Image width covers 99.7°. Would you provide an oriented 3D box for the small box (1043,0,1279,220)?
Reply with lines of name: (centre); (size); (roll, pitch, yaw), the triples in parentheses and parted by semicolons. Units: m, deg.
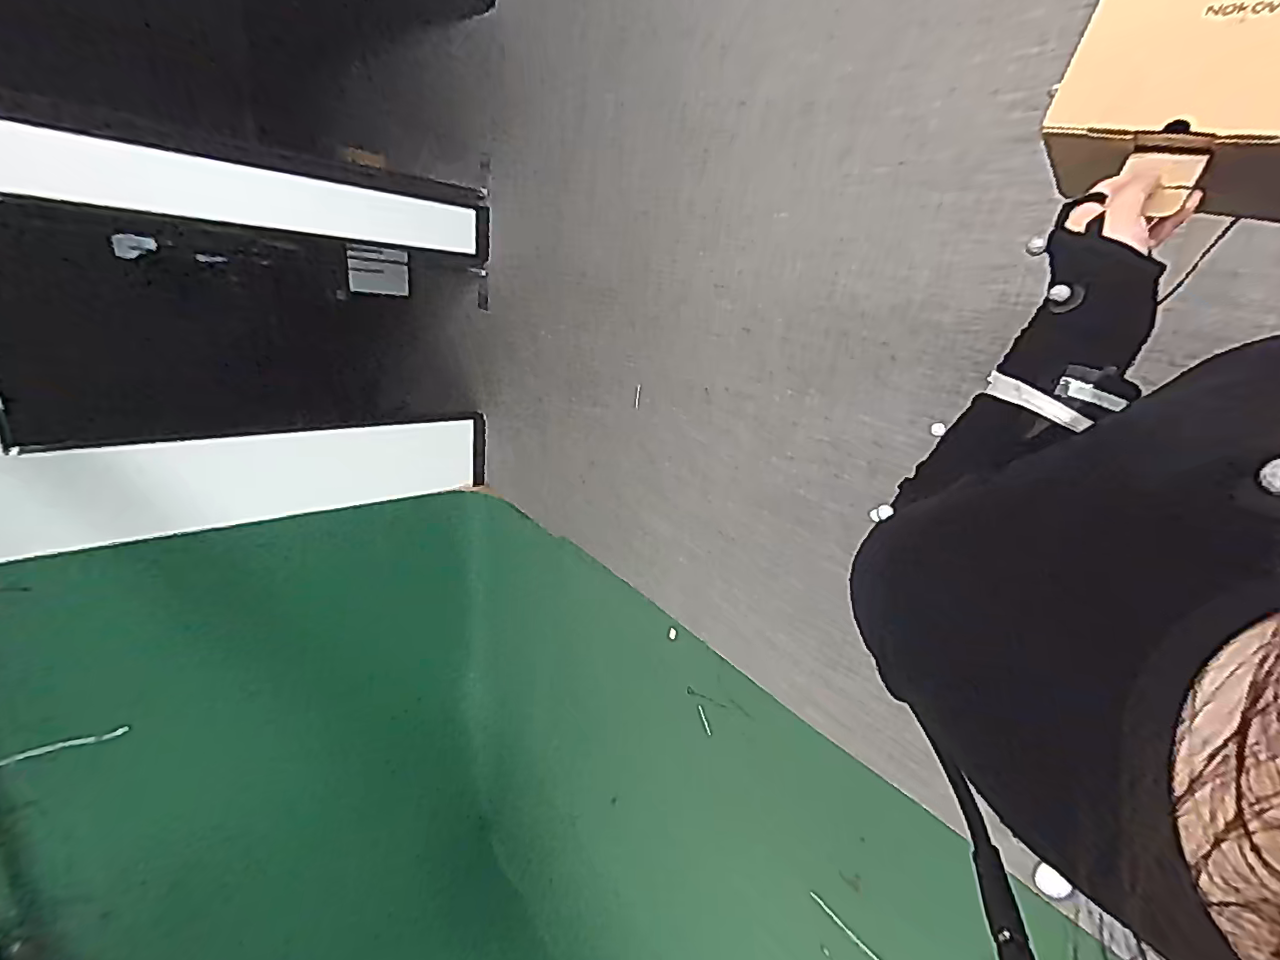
small box: (0.444, -0.319, 0.406); (0.168, 0.176, 0.179); (31, 116, 35)
